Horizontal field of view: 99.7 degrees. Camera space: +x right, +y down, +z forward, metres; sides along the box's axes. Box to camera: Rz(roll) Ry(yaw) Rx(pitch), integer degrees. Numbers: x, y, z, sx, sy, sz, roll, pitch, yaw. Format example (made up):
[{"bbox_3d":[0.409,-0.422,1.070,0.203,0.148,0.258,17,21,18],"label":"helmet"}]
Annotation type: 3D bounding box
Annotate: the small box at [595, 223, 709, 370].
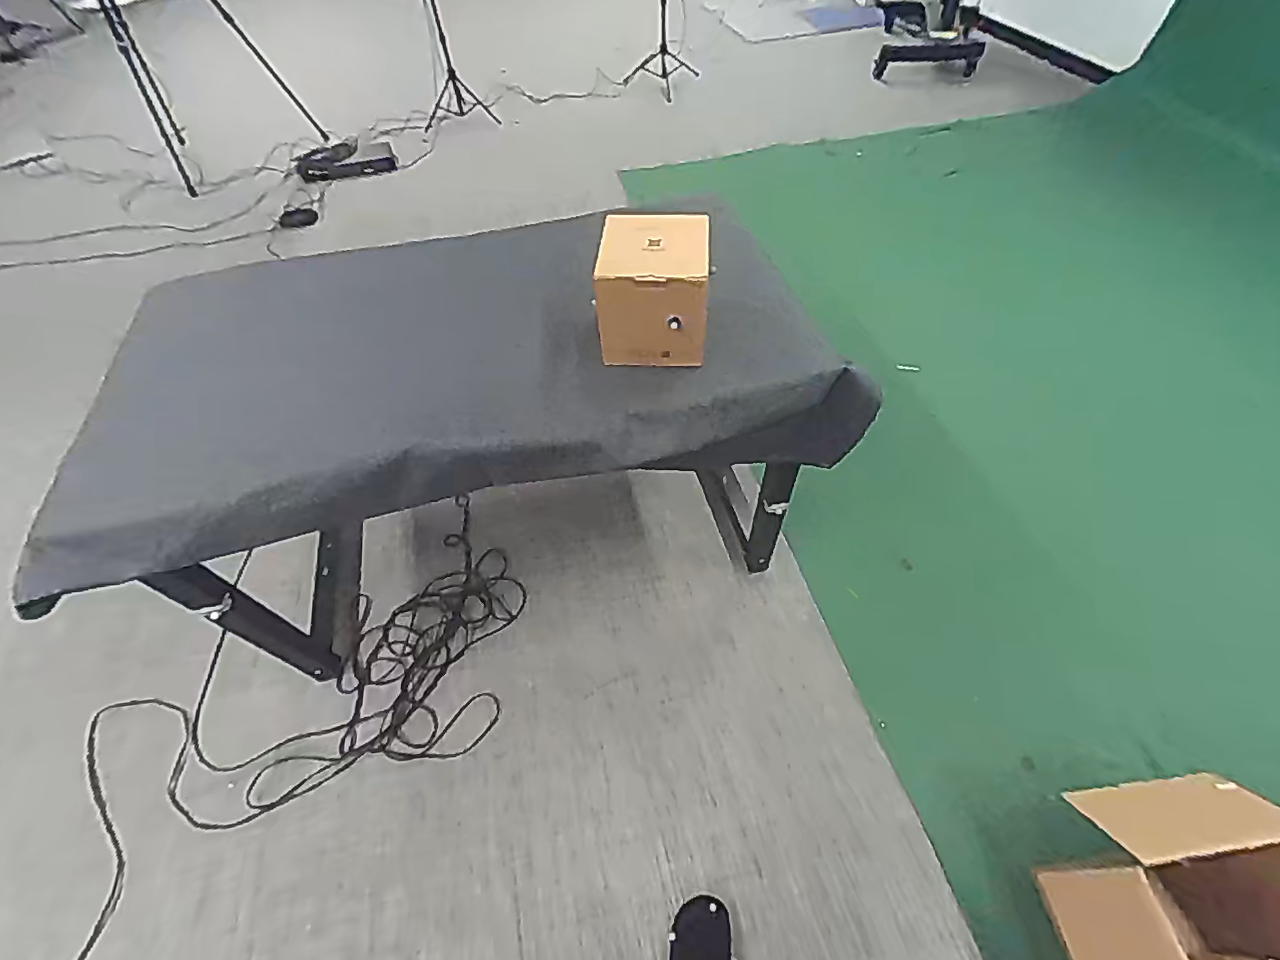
[{"bbox_3d":[0.026,-0.296,0.885,0.168,0.176,0.179,2,52,4],"label":"small box"}]
